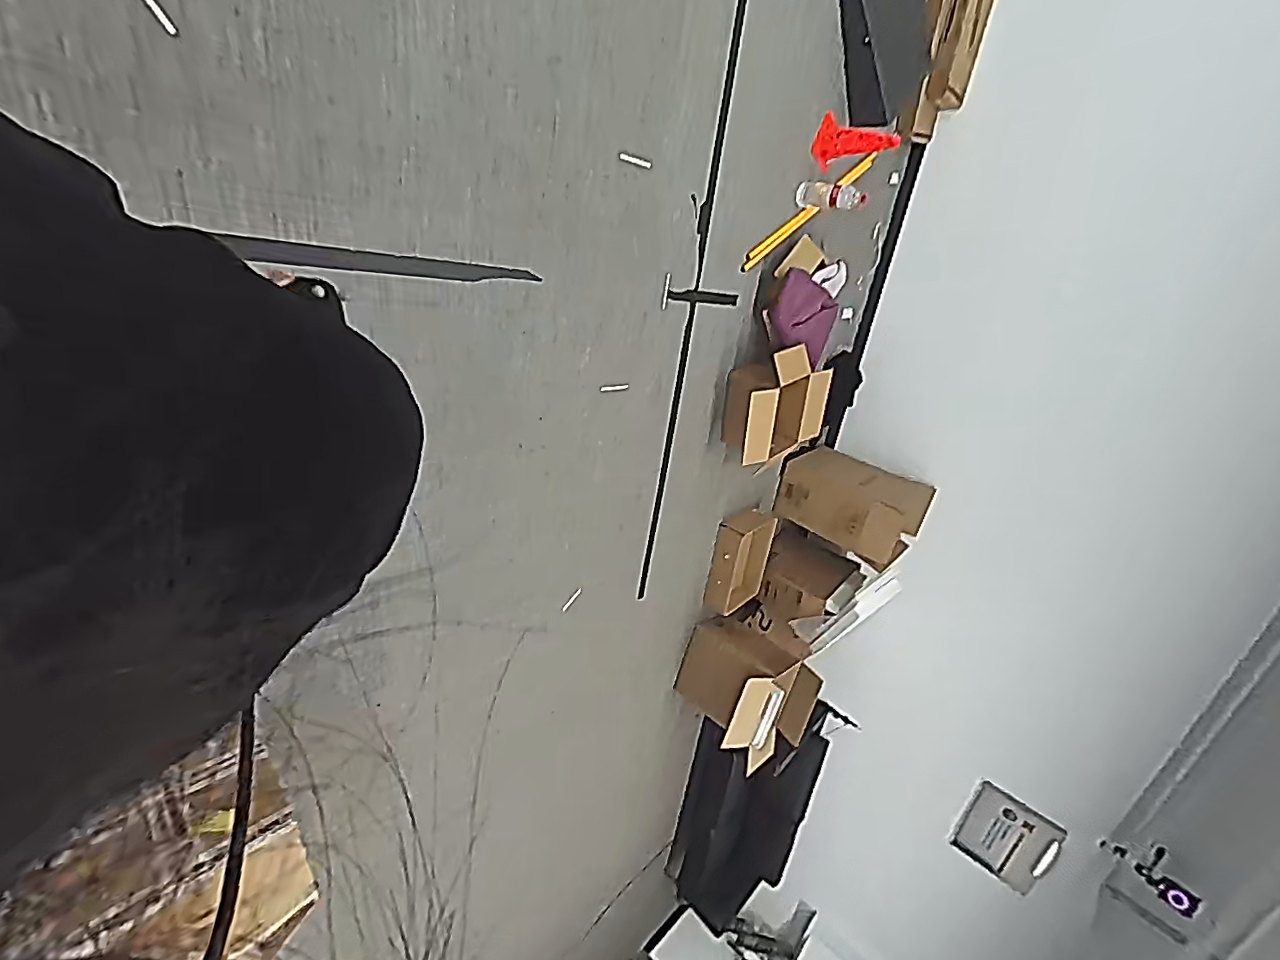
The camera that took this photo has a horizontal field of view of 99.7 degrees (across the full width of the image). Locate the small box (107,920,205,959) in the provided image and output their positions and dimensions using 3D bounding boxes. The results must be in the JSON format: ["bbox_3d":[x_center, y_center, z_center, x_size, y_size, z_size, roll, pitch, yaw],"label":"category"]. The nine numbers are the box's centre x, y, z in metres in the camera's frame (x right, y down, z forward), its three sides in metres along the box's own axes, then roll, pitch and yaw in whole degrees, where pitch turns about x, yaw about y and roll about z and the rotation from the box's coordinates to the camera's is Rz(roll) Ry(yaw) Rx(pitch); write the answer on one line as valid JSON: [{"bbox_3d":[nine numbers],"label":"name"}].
[{"bbox_3d":[-0.954,1.018,1.052,0.168,0.176,0.179,-19,123,-41],"label":"small box"}]
